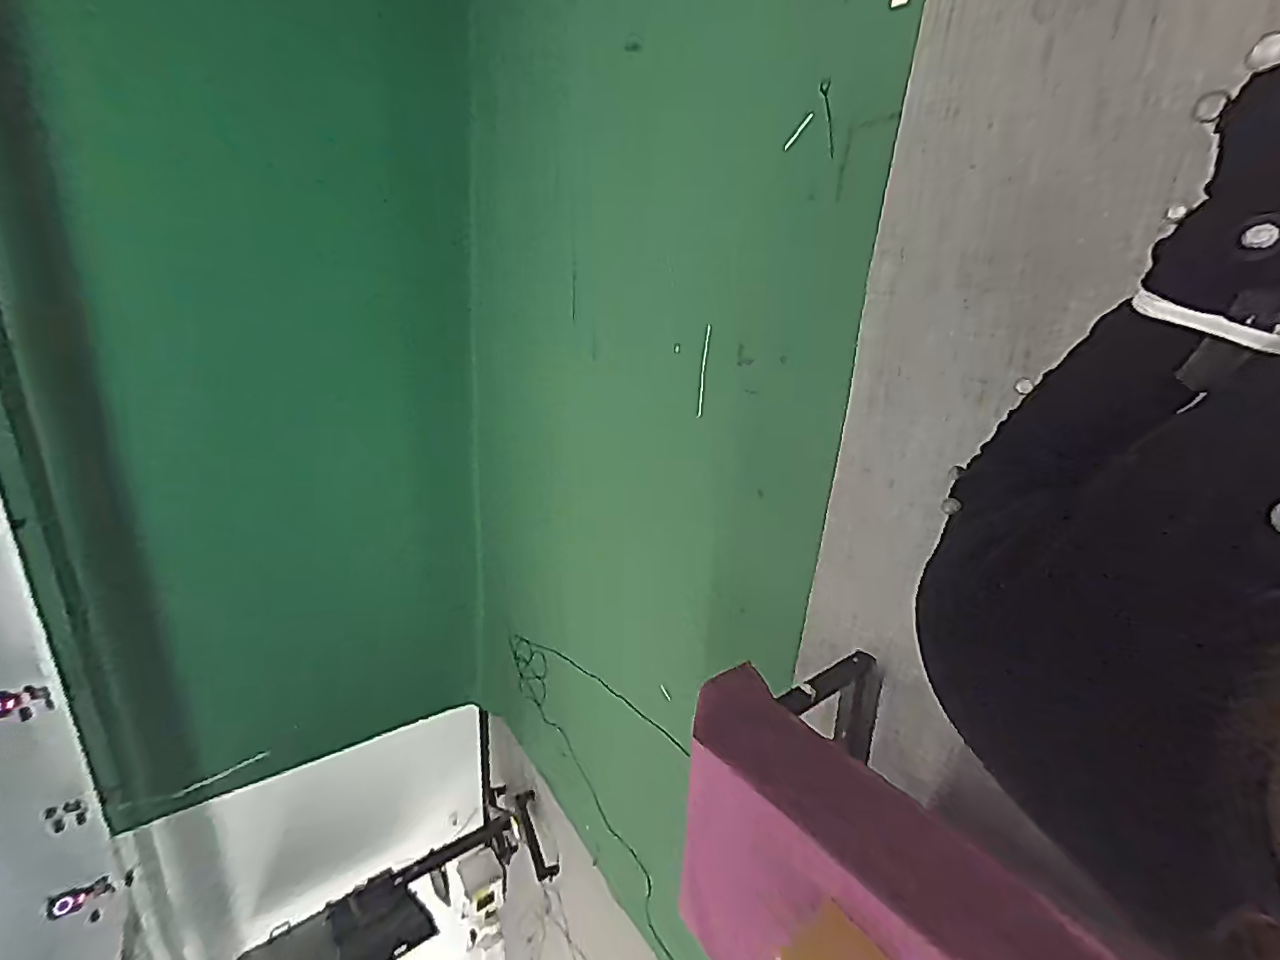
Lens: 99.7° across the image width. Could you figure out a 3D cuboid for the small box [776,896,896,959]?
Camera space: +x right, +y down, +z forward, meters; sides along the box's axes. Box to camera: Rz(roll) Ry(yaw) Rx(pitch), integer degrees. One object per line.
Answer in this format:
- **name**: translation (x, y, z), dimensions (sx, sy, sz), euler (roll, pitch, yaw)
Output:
- **small box**: translation (0.358, 0.922, 0.983), dimensions (0.179, 0.176, 0.168), euler (30, 121, 47)
